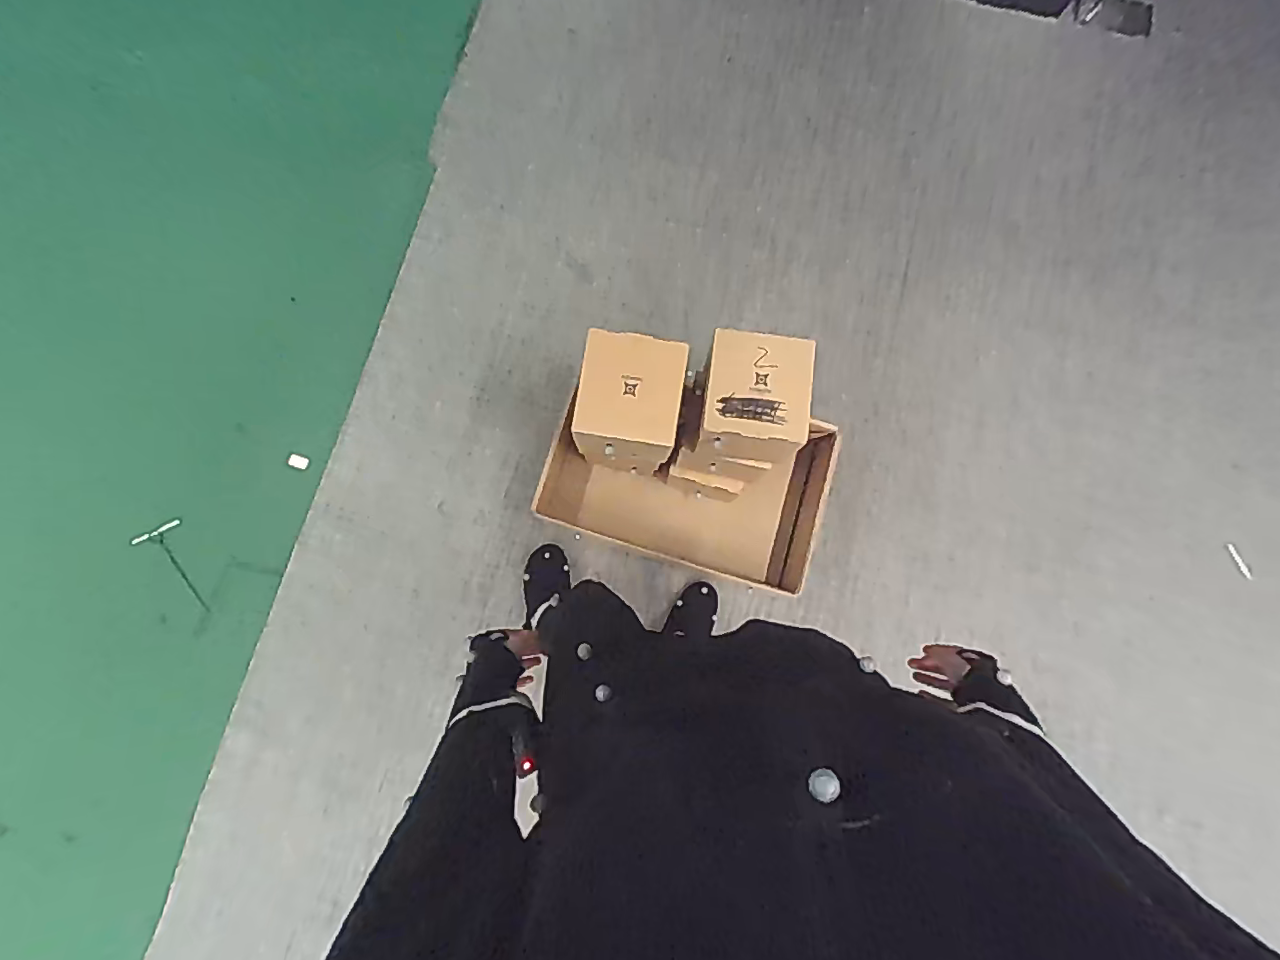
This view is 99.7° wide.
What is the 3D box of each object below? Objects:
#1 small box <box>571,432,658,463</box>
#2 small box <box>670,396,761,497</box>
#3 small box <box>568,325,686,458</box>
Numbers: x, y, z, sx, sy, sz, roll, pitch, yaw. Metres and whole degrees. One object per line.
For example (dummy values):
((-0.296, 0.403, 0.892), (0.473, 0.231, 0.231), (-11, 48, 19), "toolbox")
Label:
((-0.027, -0.136, 1.098), (0.179, 0.176, 0.168), (12, 83, 2), "small box")
((0.167, -0.070, 1.253), (0.168, 0.176, 0.179), (16, 83, 5), "small box")
((-0.019, -0.143, 0.934), (0.168, 0.176, 0.179), (9, 82, 1), "small box")
